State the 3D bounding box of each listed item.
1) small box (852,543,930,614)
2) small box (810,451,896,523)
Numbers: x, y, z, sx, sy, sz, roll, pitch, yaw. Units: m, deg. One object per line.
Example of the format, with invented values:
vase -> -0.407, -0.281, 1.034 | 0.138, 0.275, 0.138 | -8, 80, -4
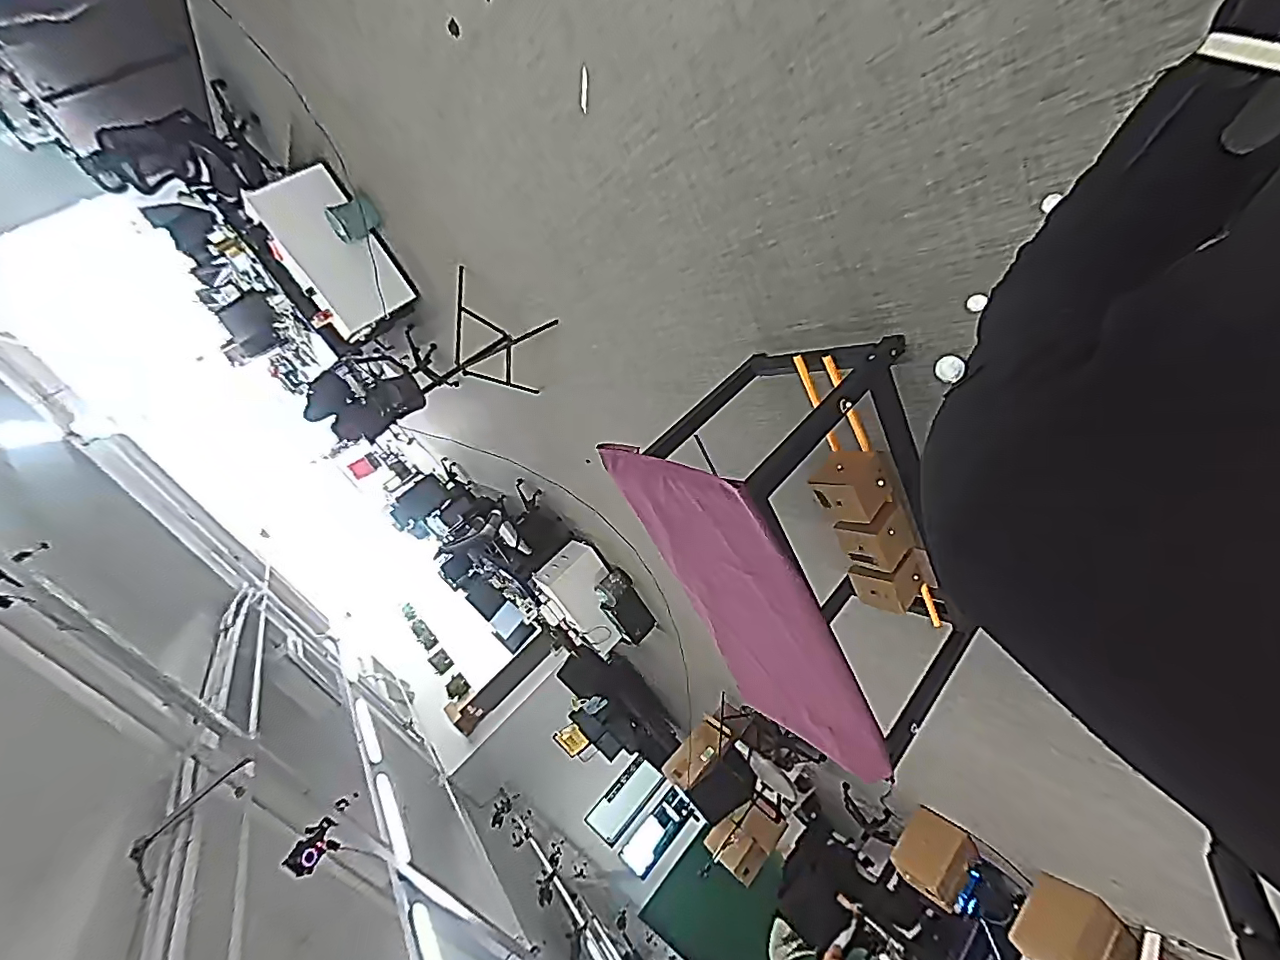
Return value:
small box -> 0.906, 0.347, 1.947 | 0.179, 0.176, 0.168 | 6, 134, 54
small box -> 0.700, 0.016, 1.774 | 0.179, 0.176, 0.168 | 3, 133, 55
